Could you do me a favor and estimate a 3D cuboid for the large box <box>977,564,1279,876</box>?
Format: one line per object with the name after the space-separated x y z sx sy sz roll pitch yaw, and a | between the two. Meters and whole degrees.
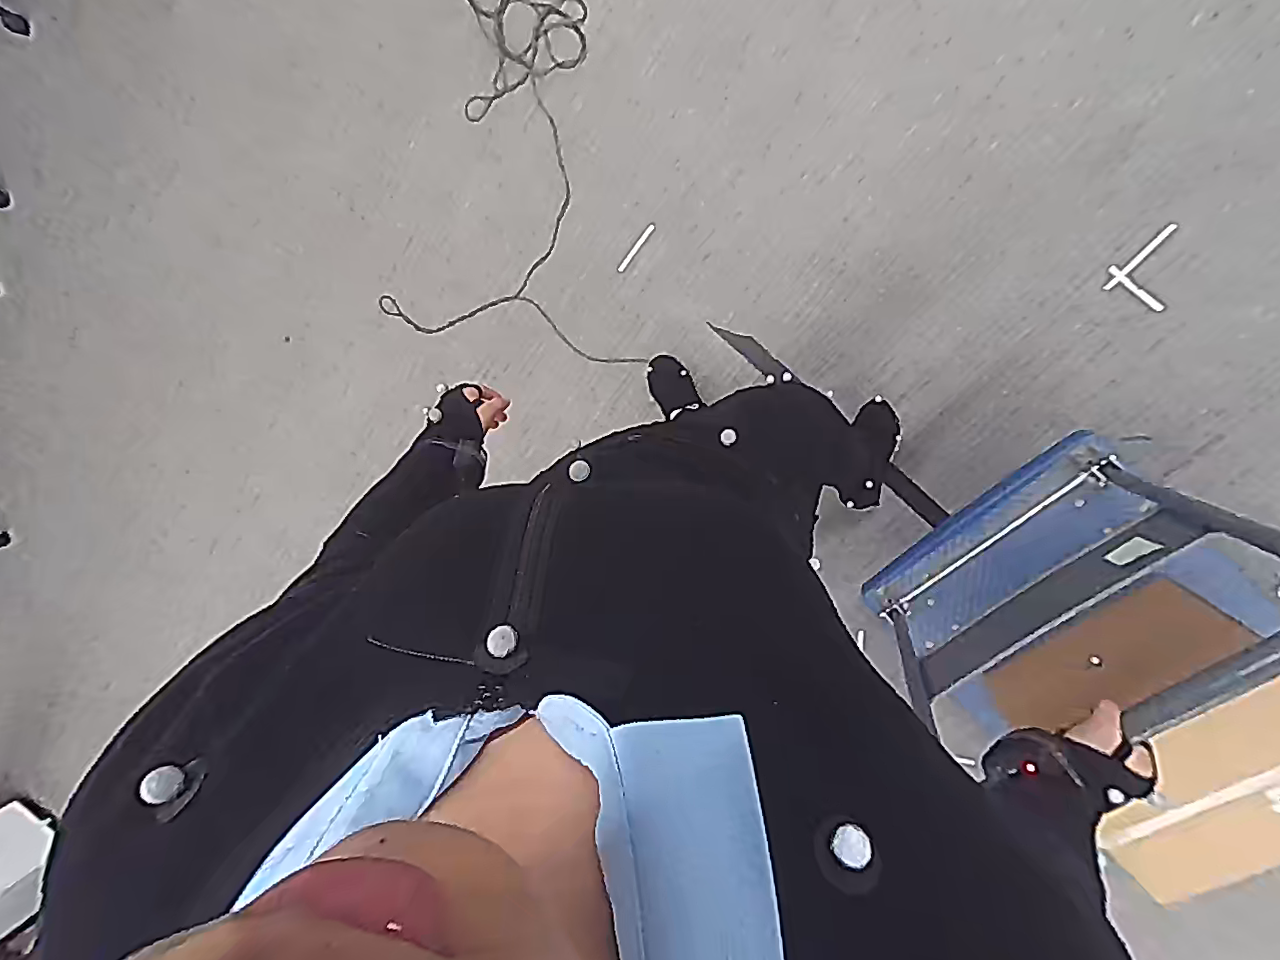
0.969 0.437 1.040 0.320 0.320 0.408 46 110 1 | large box
